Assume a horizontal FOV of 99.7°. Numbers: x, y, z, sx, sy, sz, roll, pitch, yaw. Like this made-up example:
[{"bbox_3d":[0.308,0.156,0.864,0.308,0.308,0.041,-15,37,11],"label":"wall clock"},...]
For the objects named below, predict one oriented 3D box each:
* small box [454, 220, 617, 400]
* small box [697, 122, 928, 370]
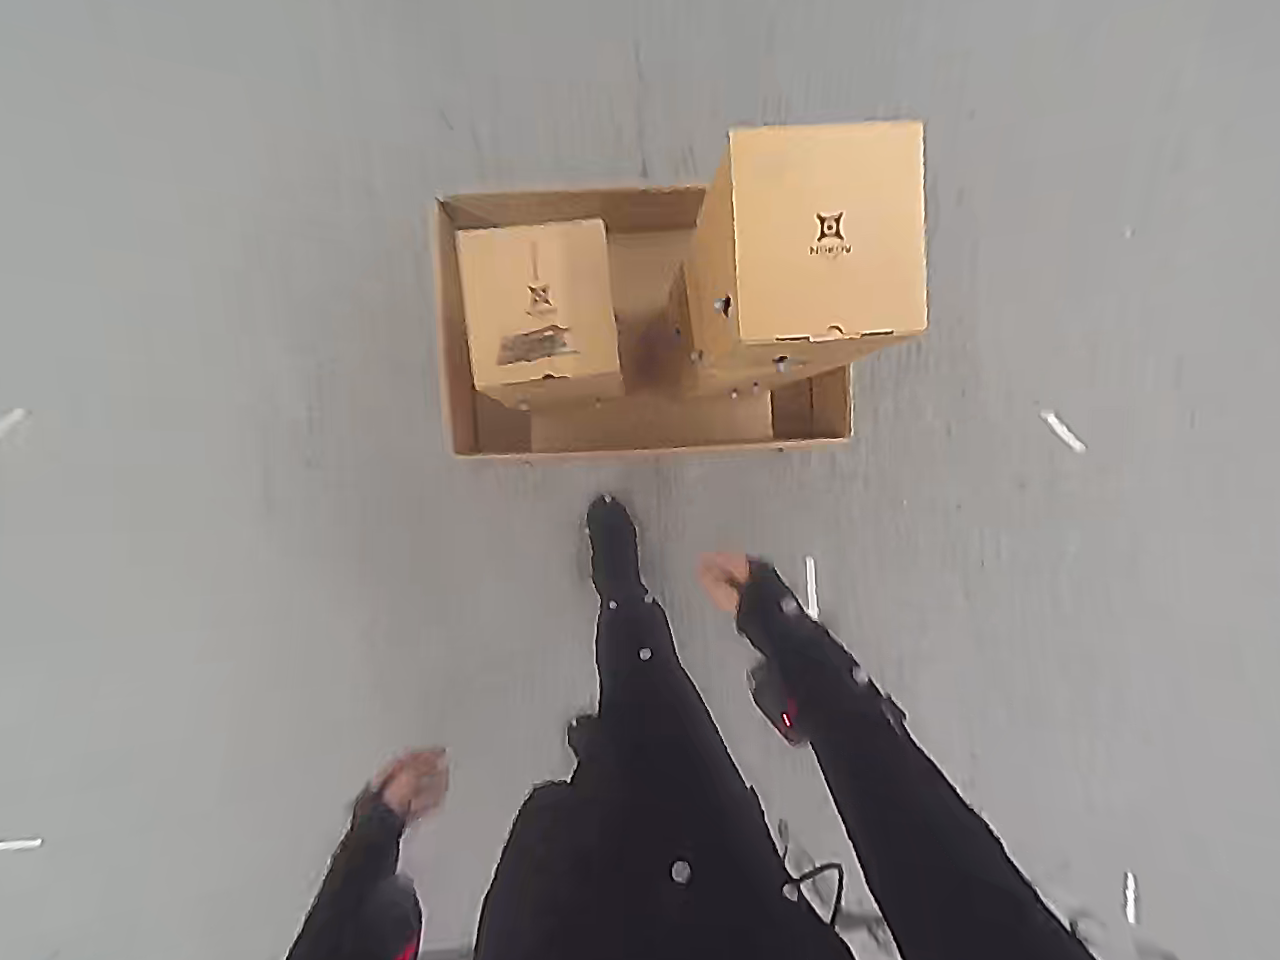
[{"bbox_3d":[-0.118,-0.197,0.678,0.168,0.176,0.179,-7,92,-3],"label":"small box"},{"bbox_3d":[0.152,-0.210,0.526,0.168,0.176,0.179,-4,95,-2],"label":"small box"}]
